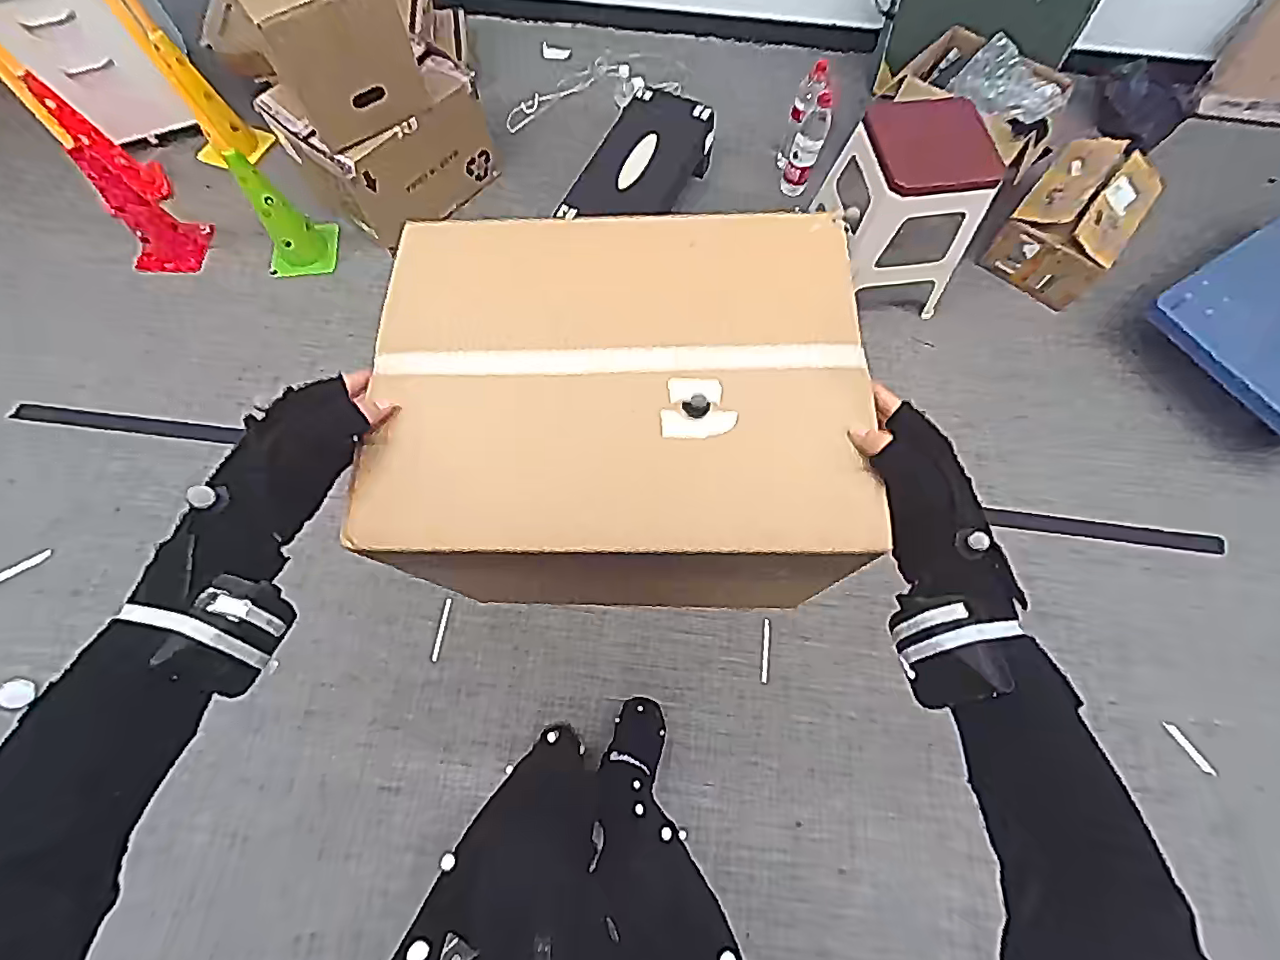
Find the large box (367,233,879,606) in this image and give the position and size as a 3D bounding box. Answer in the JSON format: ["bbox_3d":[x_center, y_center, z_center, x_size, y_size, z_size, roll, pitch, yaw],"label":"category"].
[{"bbox_3d":[-0.012,-0.037,0.604,0.408,0.320,0.320,0,70,2],"label":"large box"}]
